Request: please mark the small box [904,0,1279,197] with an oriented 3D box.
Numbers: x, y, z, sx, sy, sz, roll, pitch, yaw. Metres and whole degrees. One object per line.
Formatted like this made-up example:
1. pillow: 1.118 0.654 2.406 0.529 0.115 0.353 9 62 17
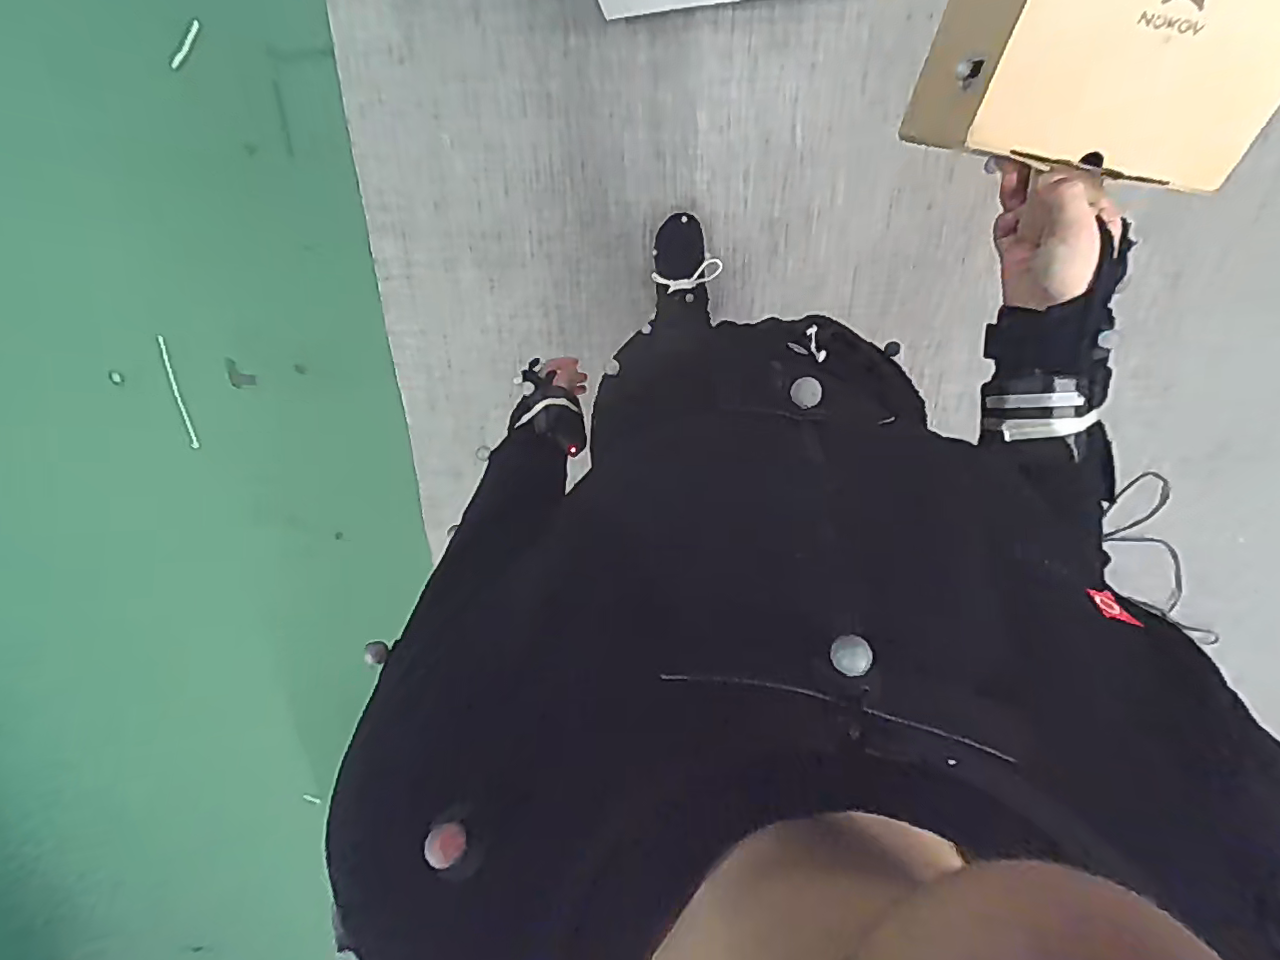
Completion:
1. small box: 0.306 -0.311 0.363 0.168 0.176 0.179 11 126 1
